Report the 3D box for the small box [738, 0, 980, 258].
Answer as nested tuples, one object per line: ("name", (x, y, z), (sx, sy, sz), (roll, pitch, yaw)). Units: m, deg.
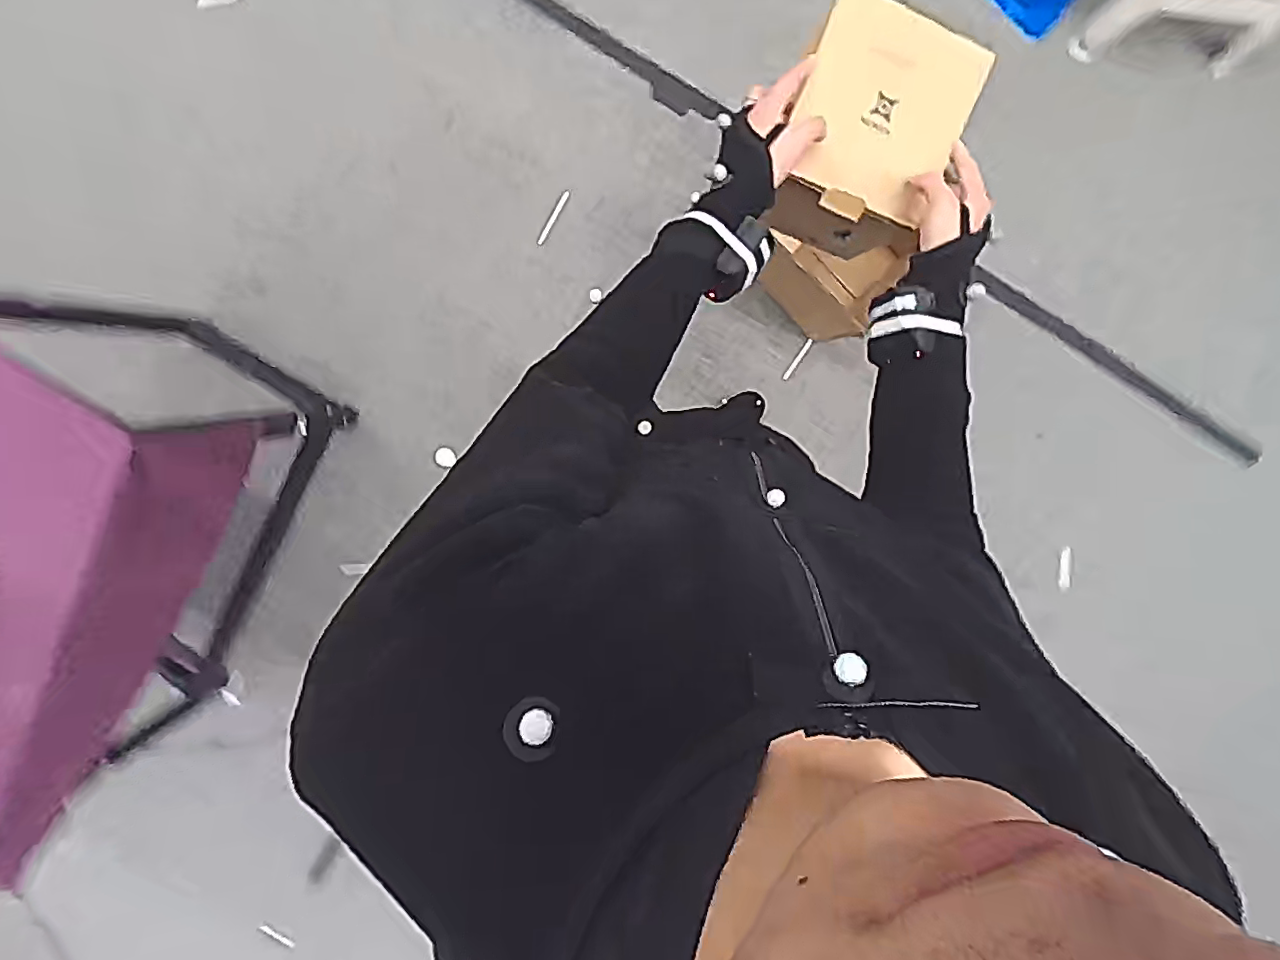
("small box", (0.224, -0.375, 0.611), (0.168, 0.176, 0.179), (20, 100, -7))
